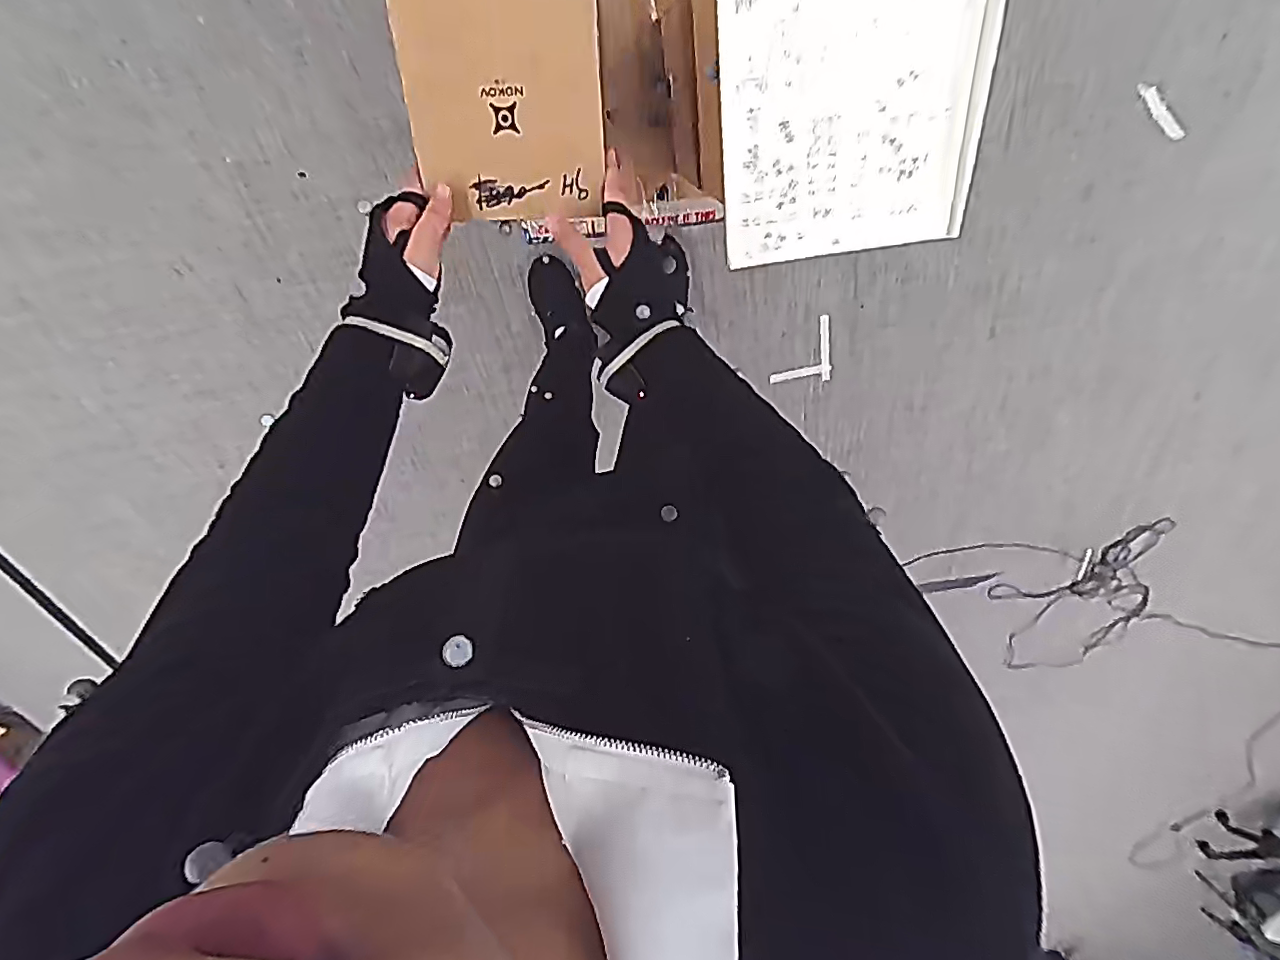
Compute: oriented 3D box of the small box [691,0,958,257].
[{"bbox_3d":[0.142,-0.317,0.482,0.168,0.176,0.179,-9,125,-1],"label":"small box"}]
